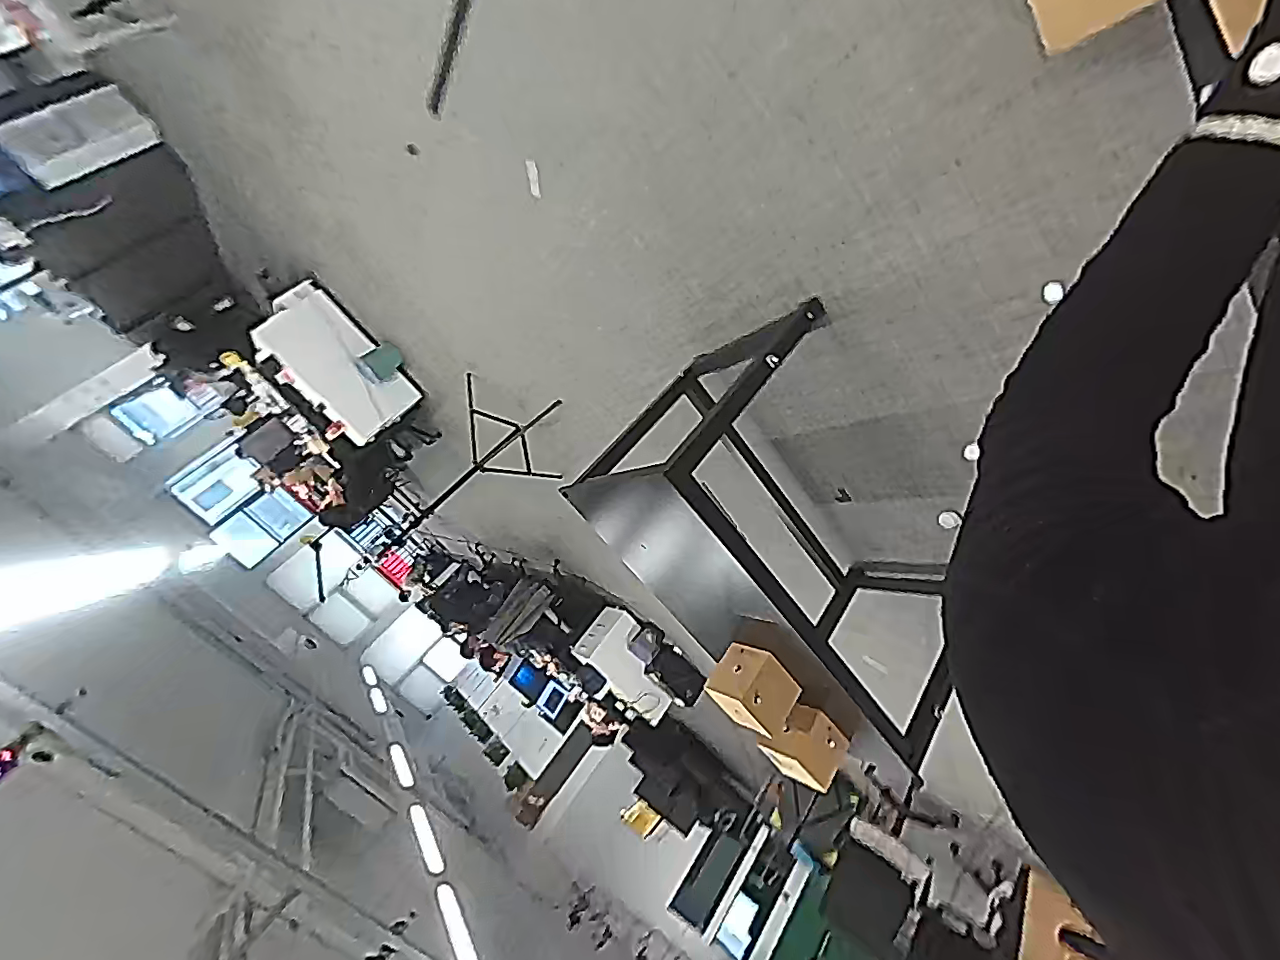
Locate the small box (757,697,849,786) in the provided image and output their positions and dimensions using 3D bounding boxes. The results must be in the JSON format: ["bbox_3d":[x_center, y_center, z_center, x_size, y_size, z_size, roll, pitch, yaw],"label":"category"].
[{"bbox_3d":[0.504,0.791,1.665,0.168,0.176,0.179,49,154,-15],"label":"small box"}]

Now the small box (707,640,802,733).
[{"bbox_3d":[0.337,0.597,1.588,0.179,0.176,0.168,50,155,-16],"label":"small box"}]
